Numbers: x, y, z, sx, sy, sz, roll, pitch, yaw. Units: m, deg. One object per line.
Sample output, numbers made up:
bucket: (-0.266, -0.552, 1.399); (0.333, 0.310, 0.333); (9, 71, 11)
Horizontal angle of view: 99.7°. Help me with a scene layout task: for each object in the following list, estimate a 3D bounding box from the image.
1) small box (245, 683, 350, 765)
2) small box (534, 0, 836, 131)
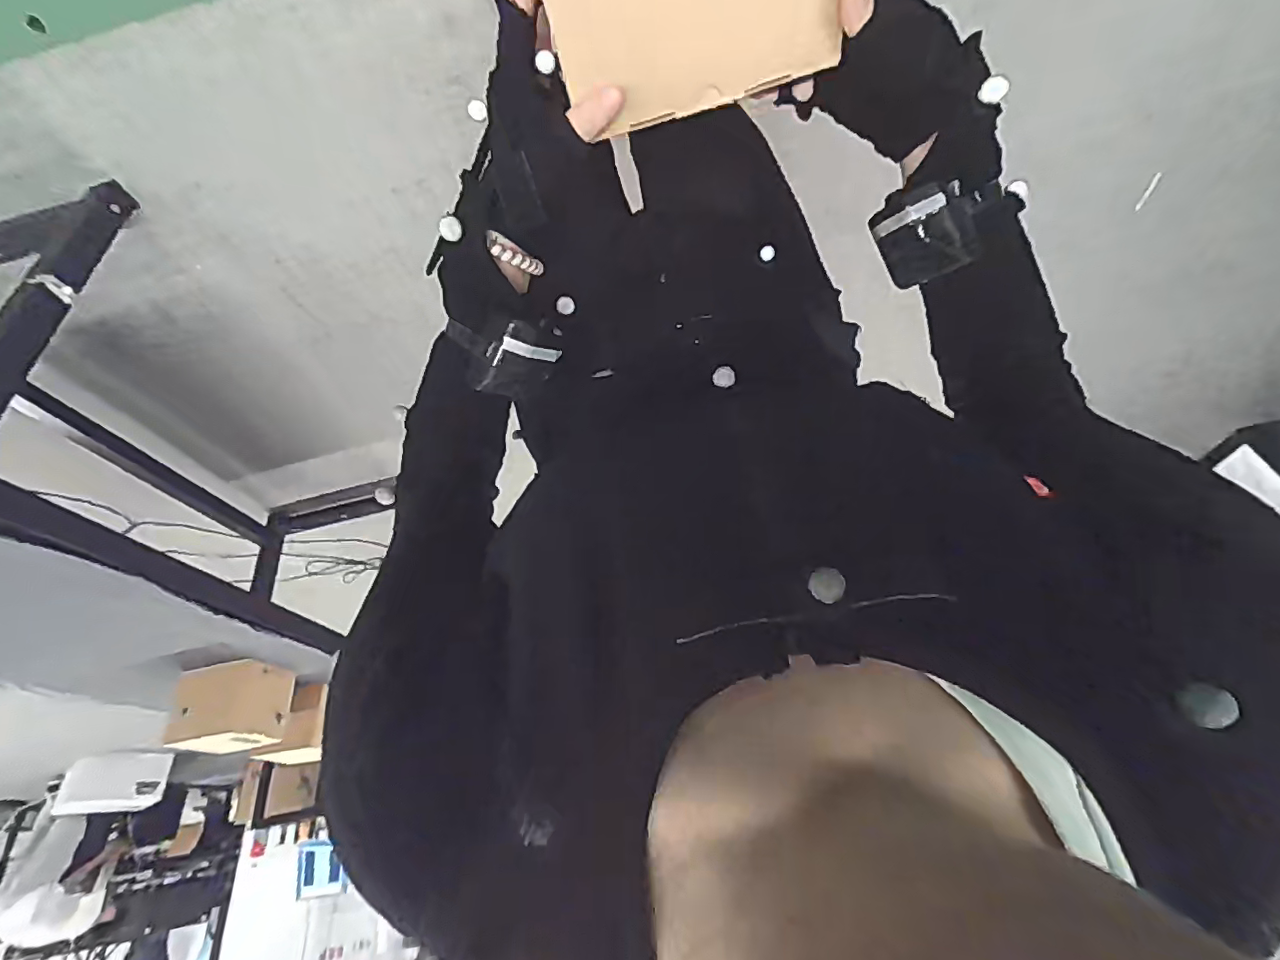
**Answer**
small box: (-0.950, 0.685, 1.519); (0.179, 0.176, 0.168); (-11, 146, 2)
small box: (0.007, -0.348, 0.314); (0.168, 0.176, 0.179); (-16, 143, 2)
